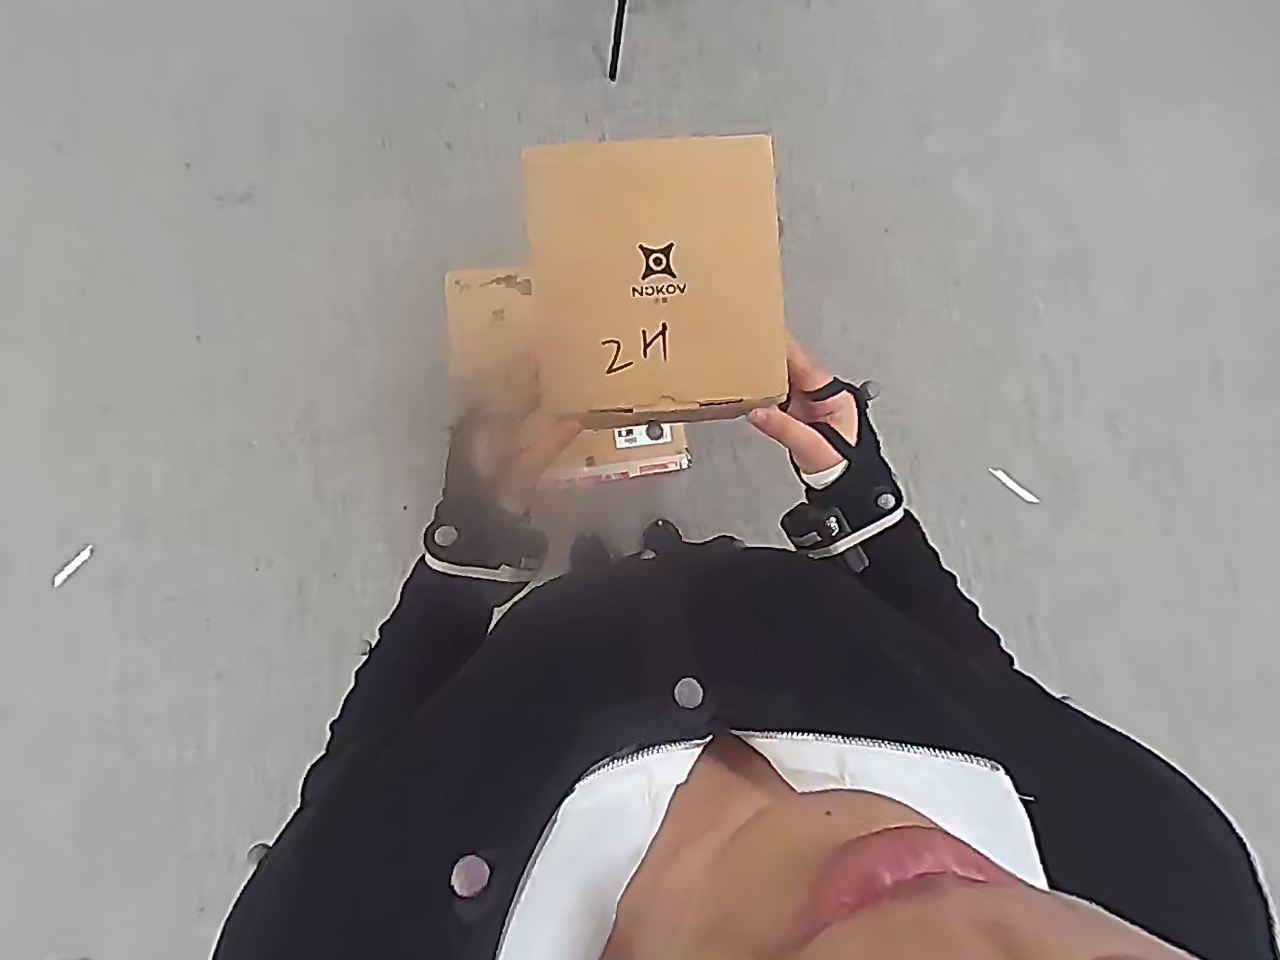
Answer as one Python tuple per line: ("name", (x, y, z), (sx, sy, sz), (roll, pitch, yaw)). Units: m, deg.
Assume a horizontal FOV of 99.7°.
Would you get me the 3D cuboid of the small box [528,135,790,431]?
("small box", (0.009, -0.135, 0.429), (0.168, 0.176, 0.179), (-4, 92, -2))
